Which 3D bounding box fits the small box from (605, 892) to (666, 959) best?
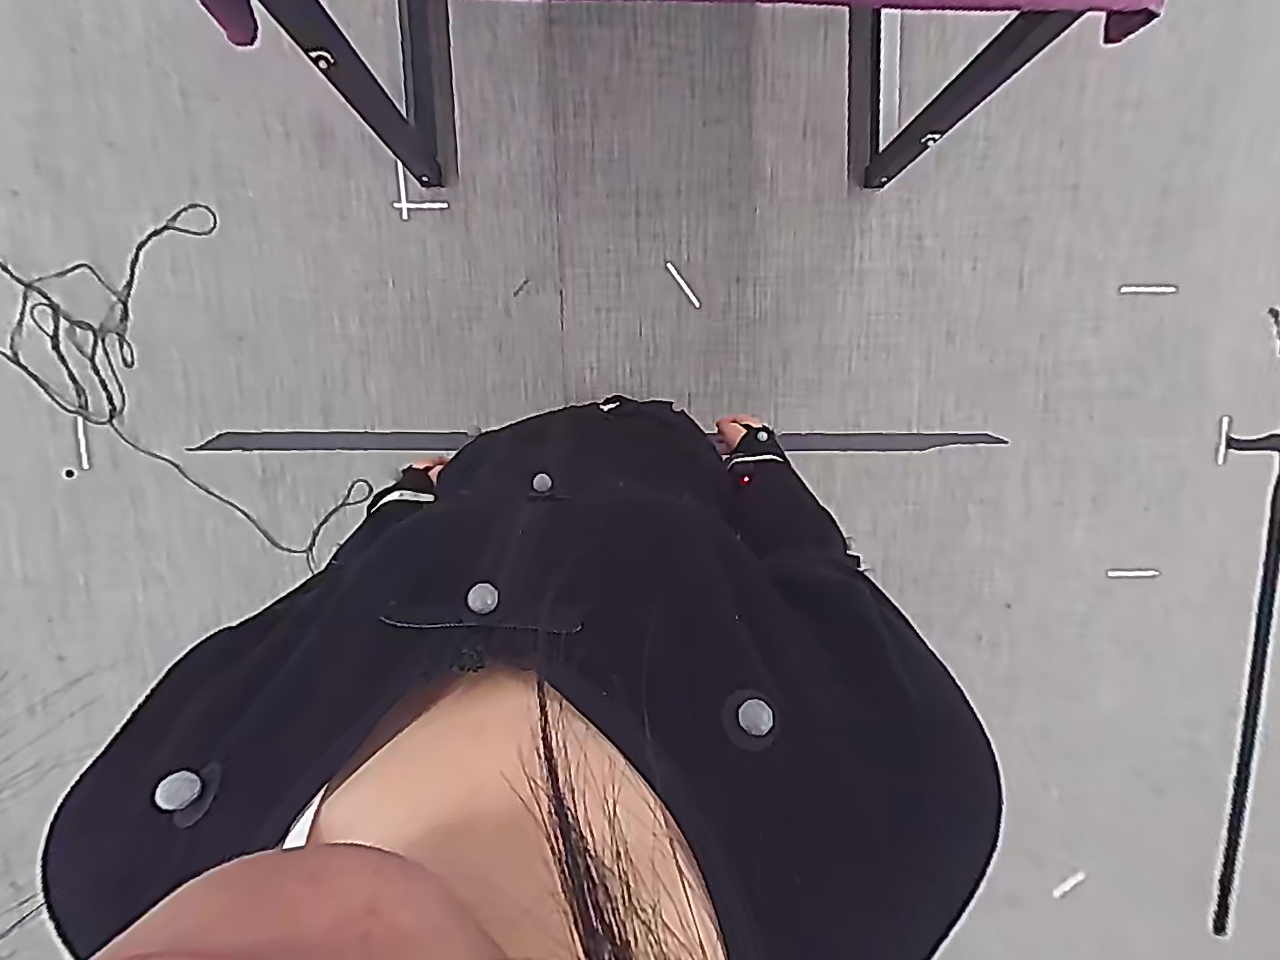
[{"bbox_3d":[-0.016,1.345,1.575,0.168,0.176,0.179,1,98,-1],"label":"small box"}]
